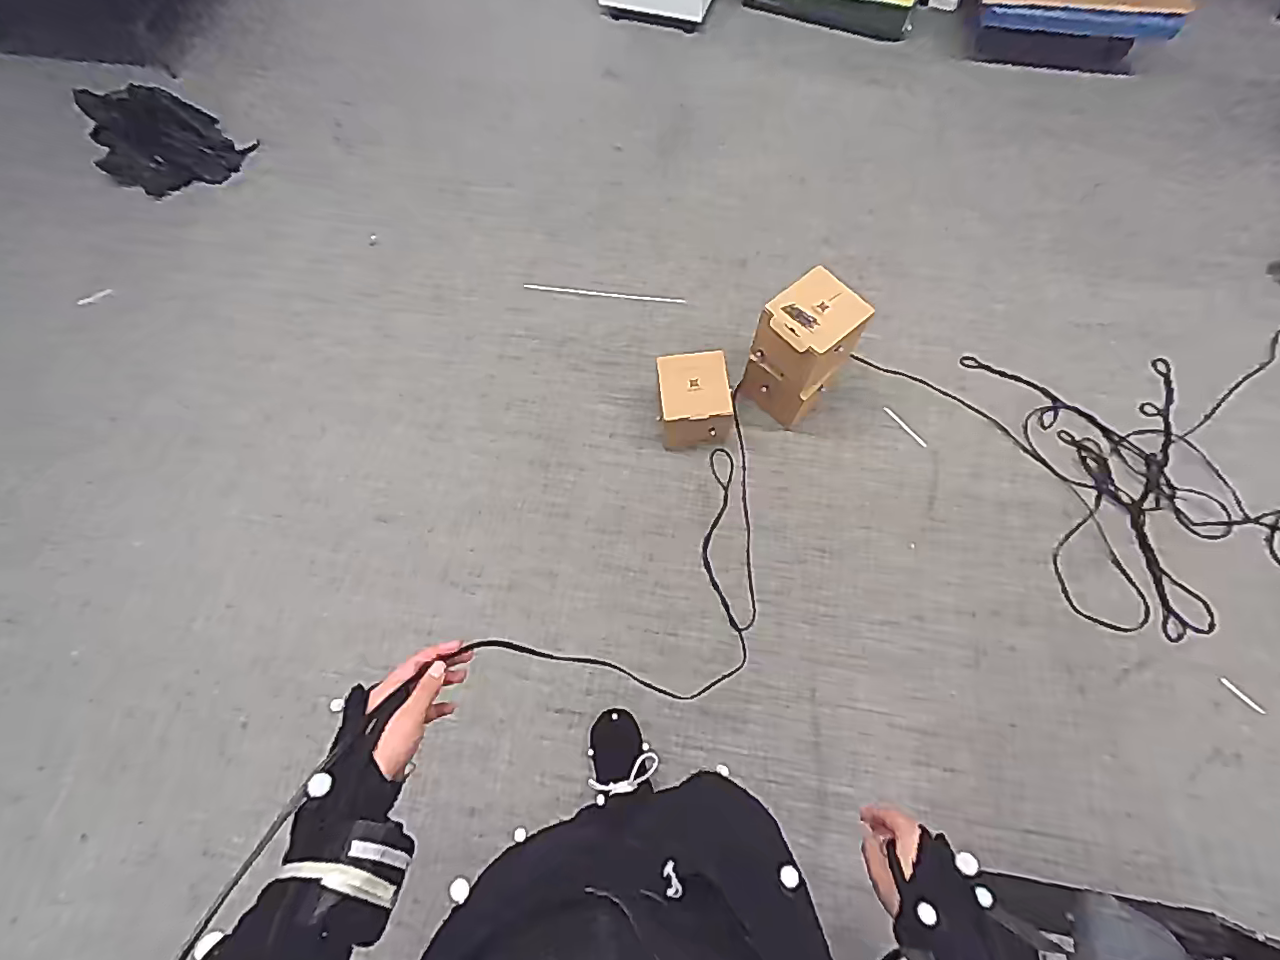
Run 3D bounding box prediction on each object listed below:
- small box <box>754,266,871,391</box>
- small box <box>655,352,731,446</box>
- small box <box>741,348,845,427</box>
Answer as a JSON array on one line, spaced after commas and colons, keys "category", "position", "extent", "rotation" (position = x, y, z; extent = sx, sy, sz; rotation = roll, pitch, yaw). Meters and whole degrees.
[{"category": "small box", "position": [0.378, -0.334, 1.223], "extent": [0.179, 0.176, 0.168], "rotation": [-38, 73, -13]}, {"category": "small box", "position": [0.128, -0.195, 1.360], "extent": [0.168, 0.176, 0.179], "rotation": [-7, 69, -1]}, {"category": "small box", "position": [0.377, -0.266, 1.374], "extent": [0.179, 0.176, 0.168], "rotation": [42, 76, 16]}]
